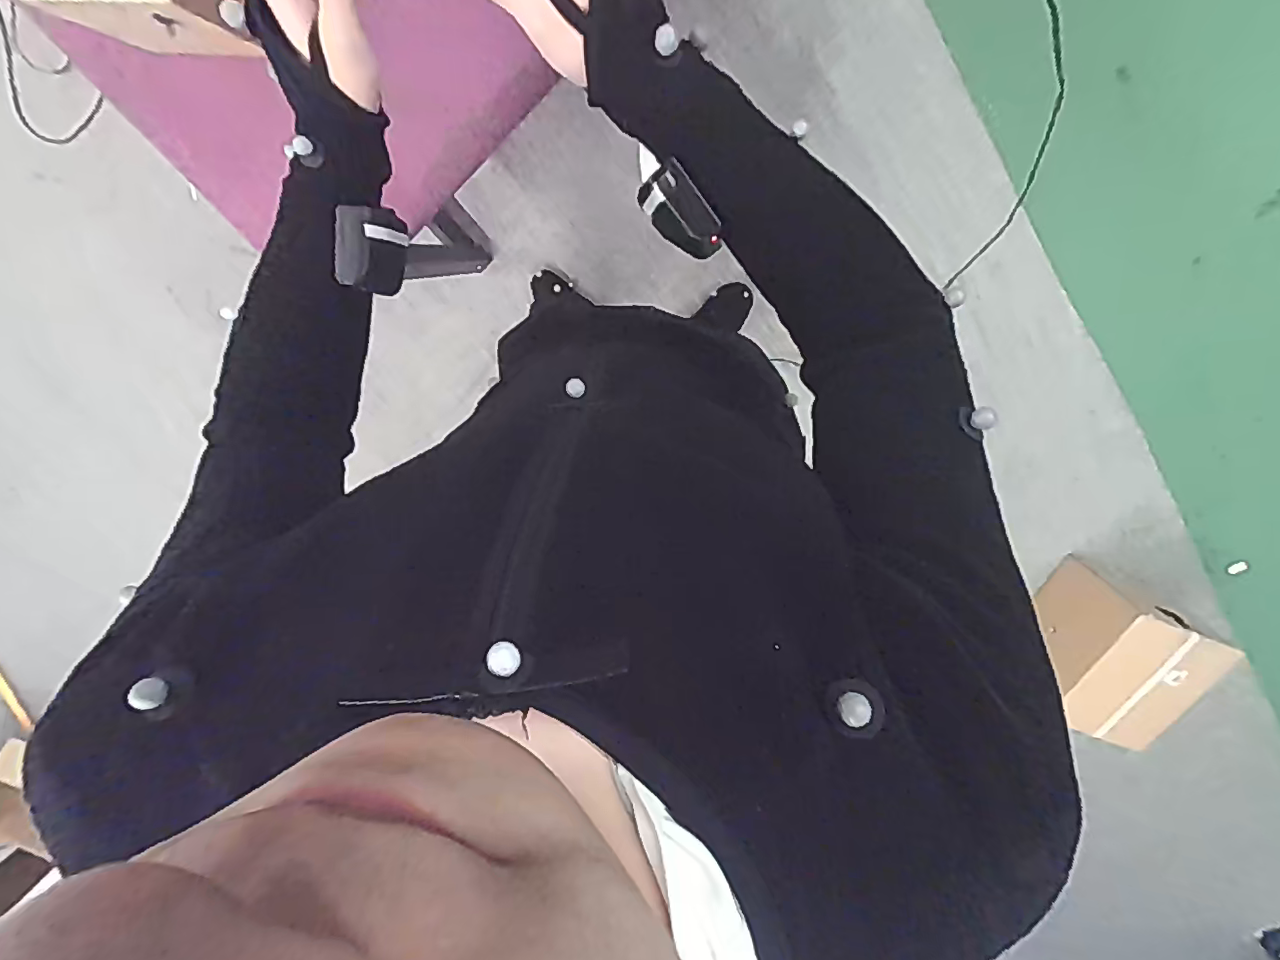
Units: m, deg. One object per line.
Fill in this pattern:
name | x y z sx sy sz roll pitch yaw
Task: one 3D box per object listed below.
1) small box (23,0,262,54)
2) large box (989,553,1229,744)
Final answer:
small box | -0.568 -0.609 0.609 0.179 0.176 0.168 4 112 2
large box | 1.373 0.500 1.638 0.320 0.320 0.408 20 112 -4
